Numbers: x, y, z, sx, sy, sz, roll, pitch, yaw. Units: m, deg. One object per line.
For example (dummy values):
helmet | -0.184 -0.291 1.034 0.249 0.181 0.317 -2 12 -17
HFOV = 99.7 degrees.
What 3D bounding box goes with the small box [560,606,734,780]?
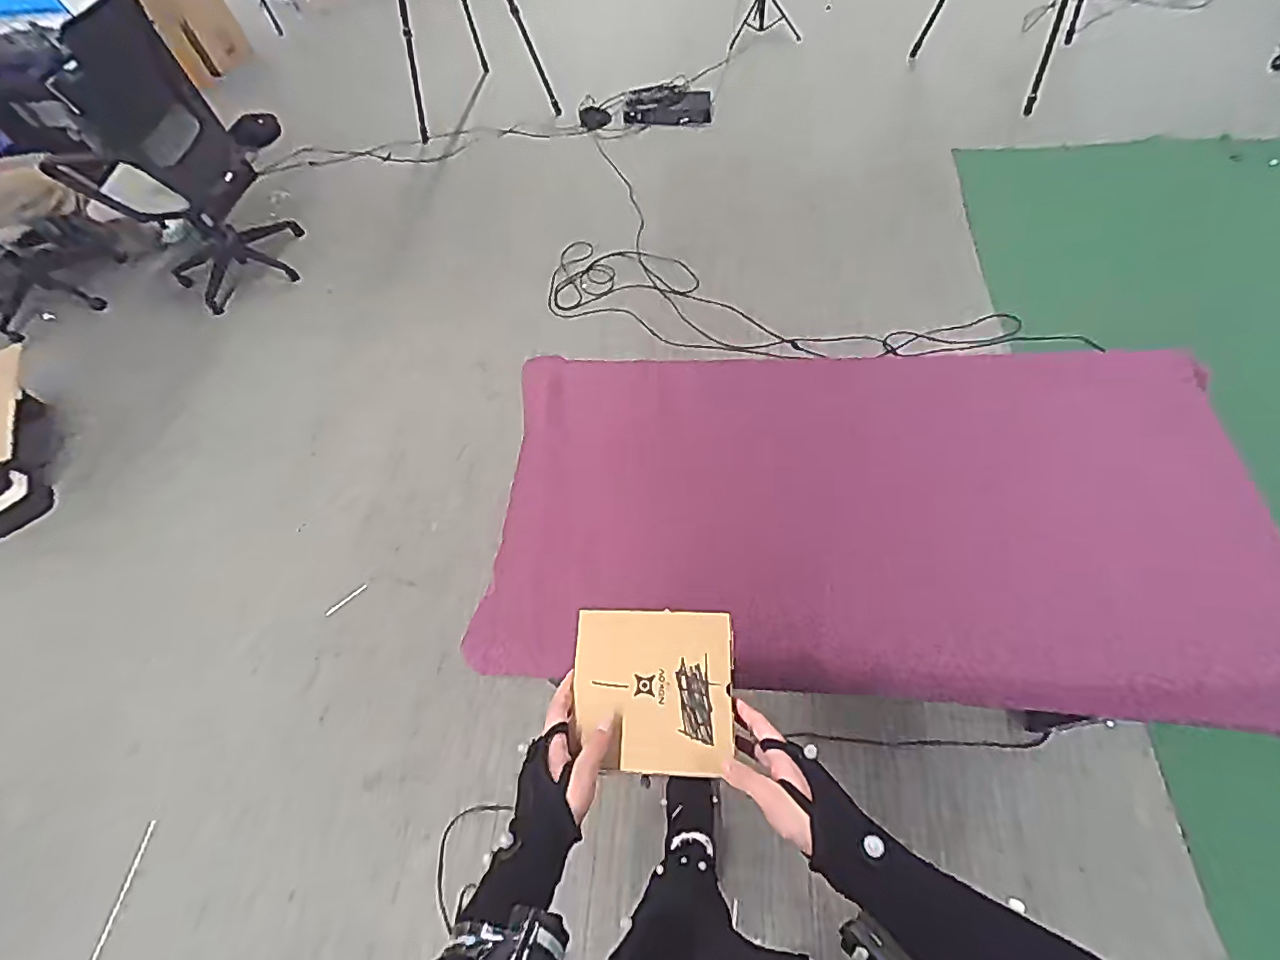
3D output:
small box | 0.016 0.257 0.645 0.179 0.176 0.168 1 61 6
